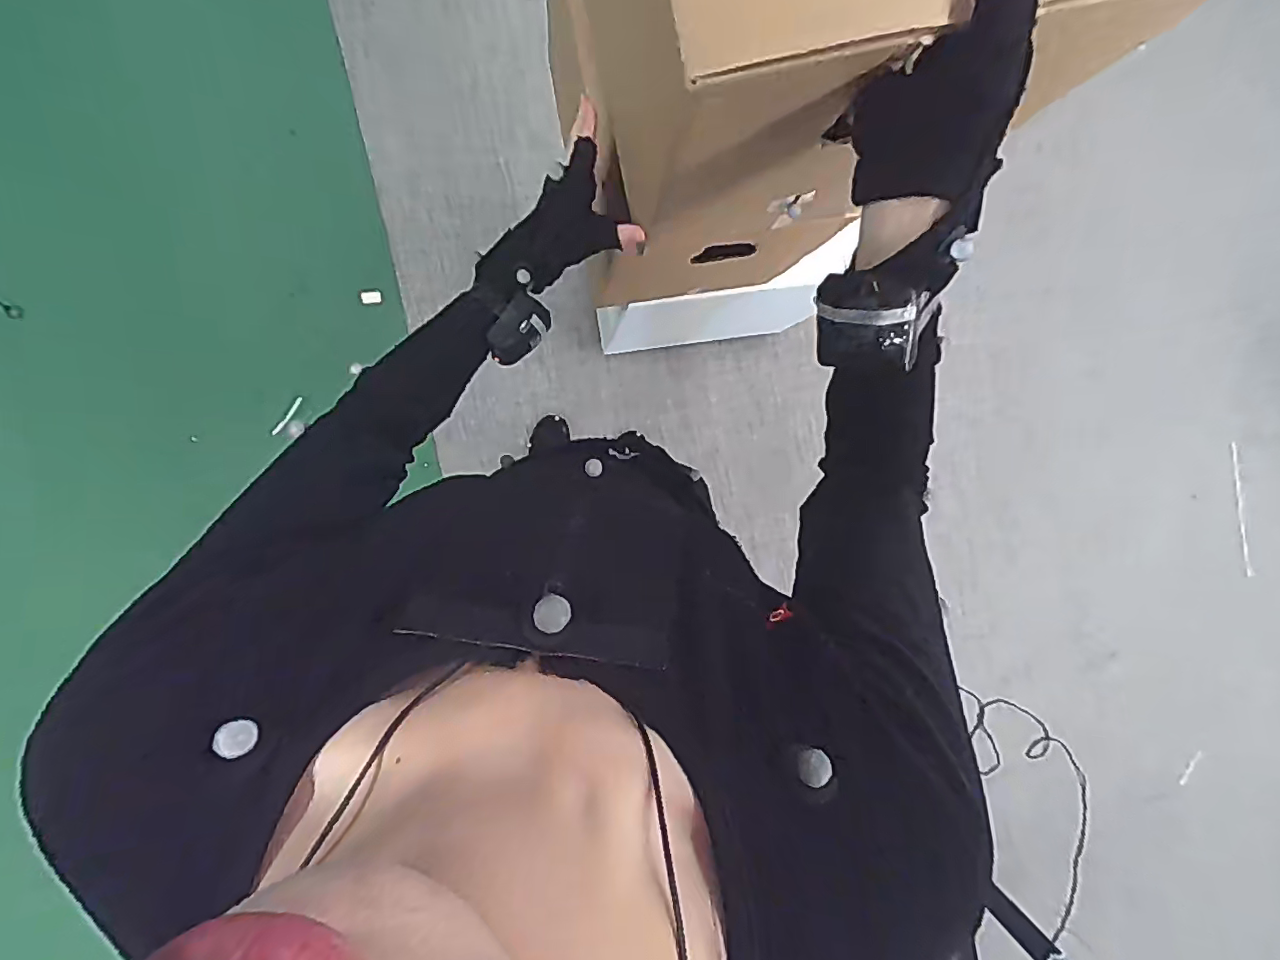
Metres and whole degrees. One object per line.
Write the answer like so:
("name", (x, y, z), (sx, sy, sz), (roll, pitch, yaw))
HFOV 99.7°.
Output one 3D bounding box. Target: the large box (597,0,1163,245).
("large box", (0.118, -0.450, 0.397), (0.320, 0.320, 0.408), (-13, 97, -2))
